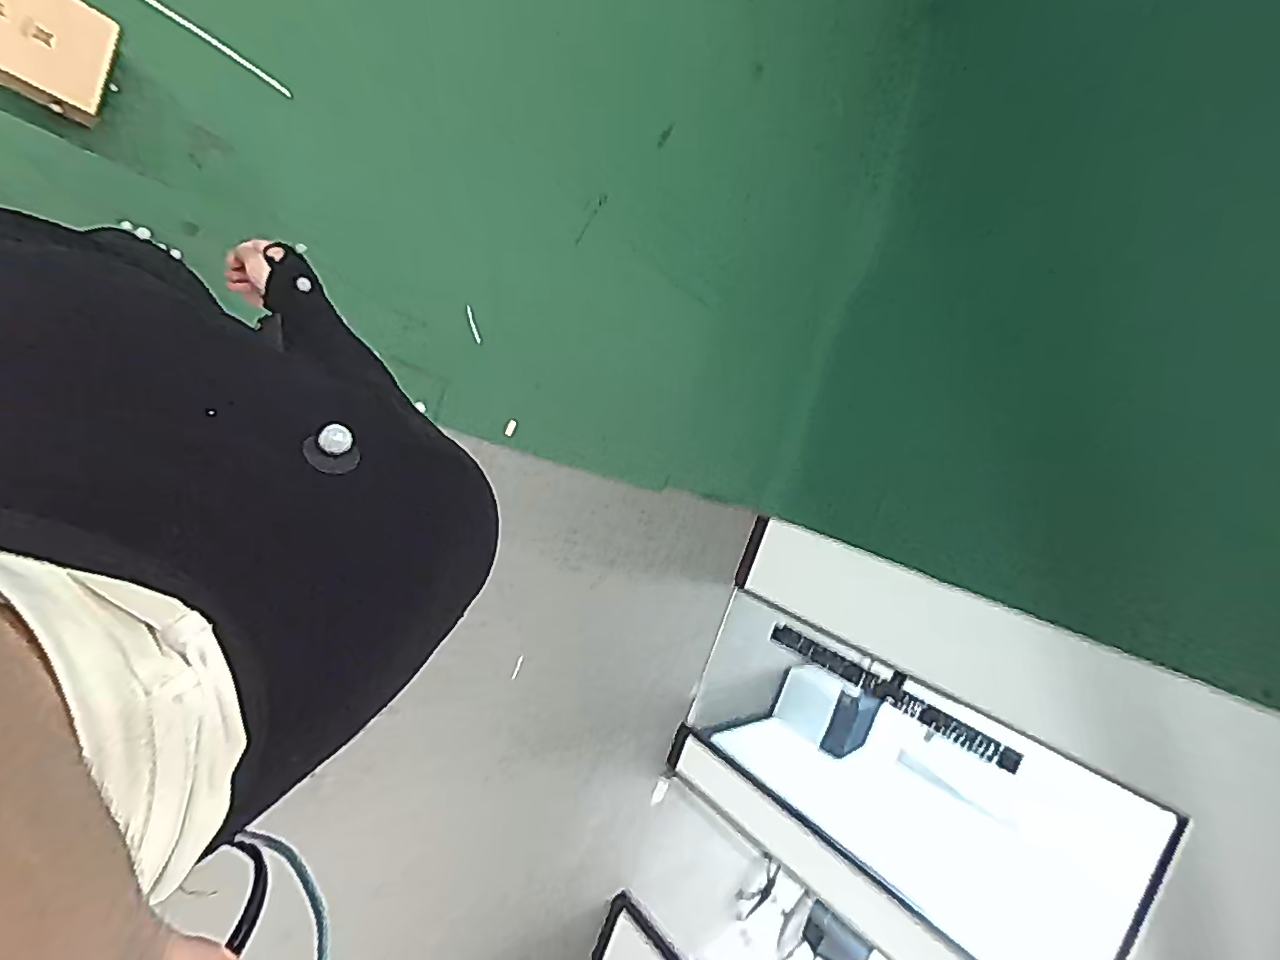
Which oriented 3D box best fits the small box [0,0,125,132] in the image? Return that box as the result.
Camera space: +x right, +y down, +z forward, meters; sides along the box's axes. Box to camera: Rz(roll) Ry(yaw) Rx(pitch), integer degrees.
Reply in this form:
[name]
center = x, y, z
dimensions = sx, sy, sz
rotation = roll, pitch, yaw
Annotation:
[small box]
center = -1.052, -0.749, 0.952
dimensions = 0.179, 0.176, 0.168
rotation = 18, 93, -47
